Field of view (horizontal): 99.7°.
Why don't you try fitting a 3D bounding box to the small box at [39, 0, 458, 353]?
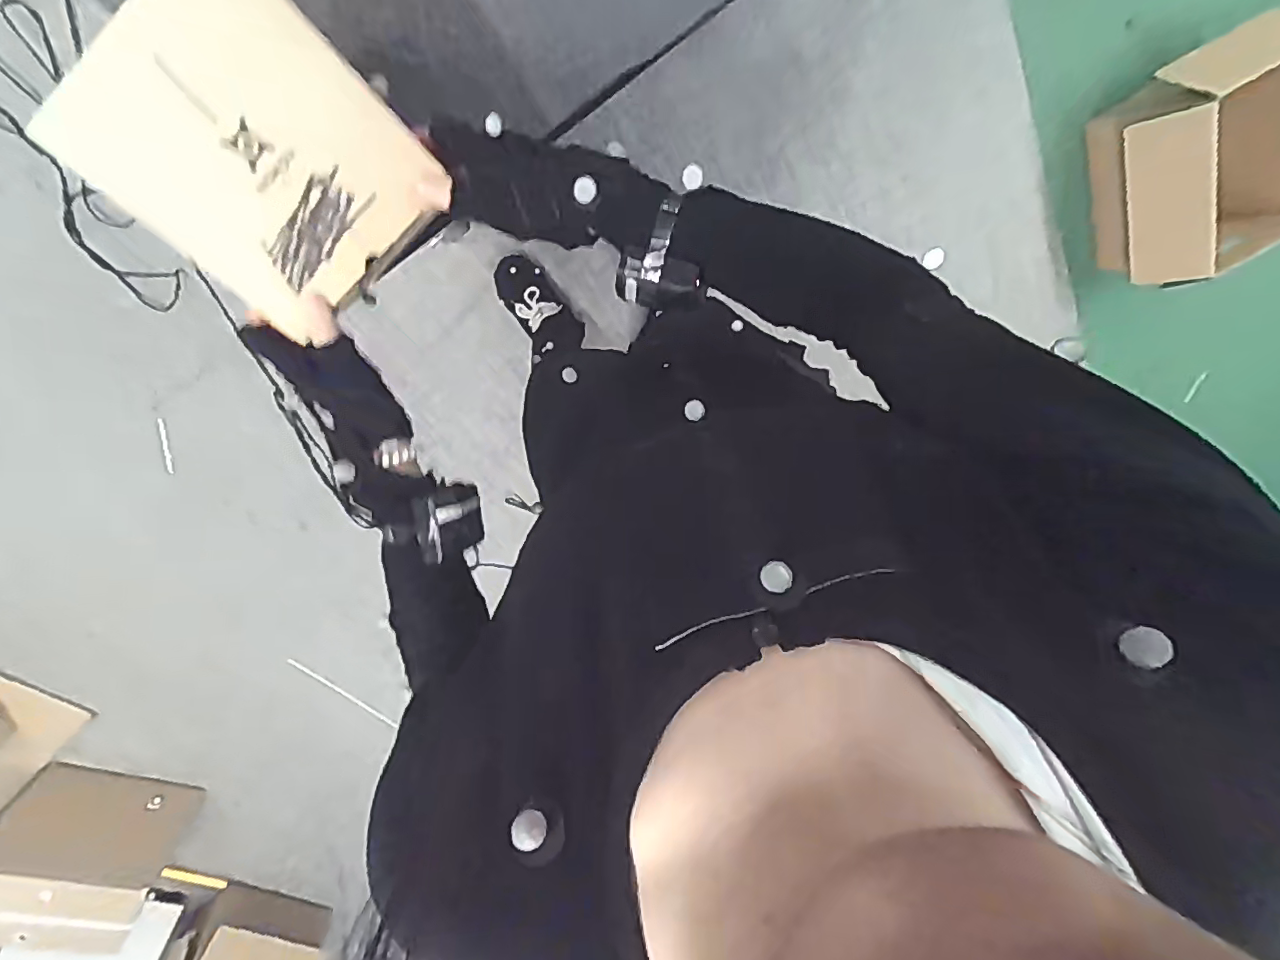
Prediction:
[{"bbox_3d":[-0.261,-0.231,0.418,0.168,0.176,0.179,-44,119,5],"label":"small box"}]
